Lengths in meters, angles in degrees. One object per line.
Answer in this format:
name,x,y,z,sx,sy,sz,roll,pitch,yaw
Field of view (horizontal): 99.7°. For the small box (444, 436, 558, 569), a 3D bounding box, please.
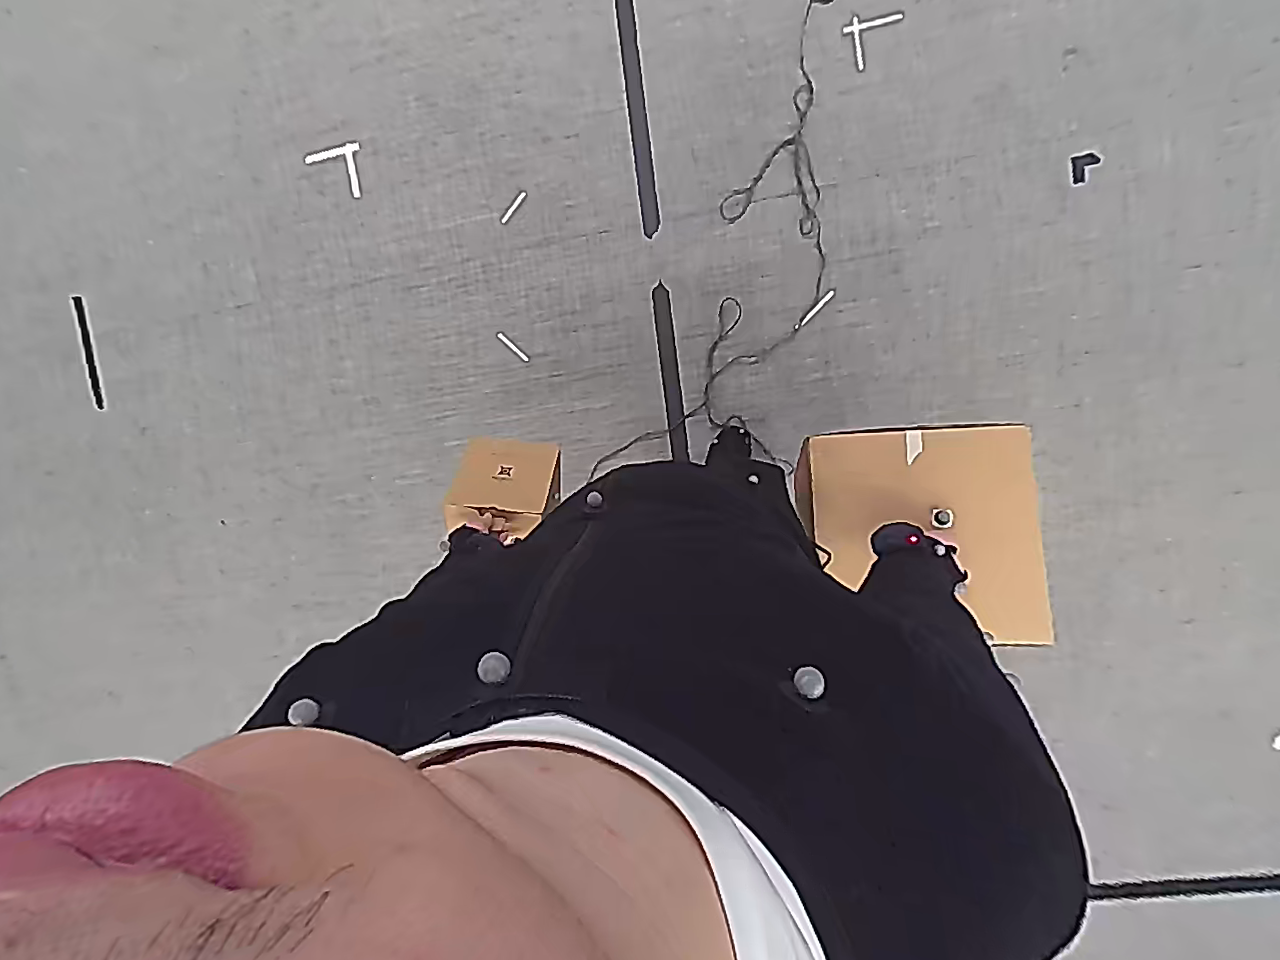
small box,-0.245,0.044,1.004,0.168,0.179,0.176,7,135,-3
